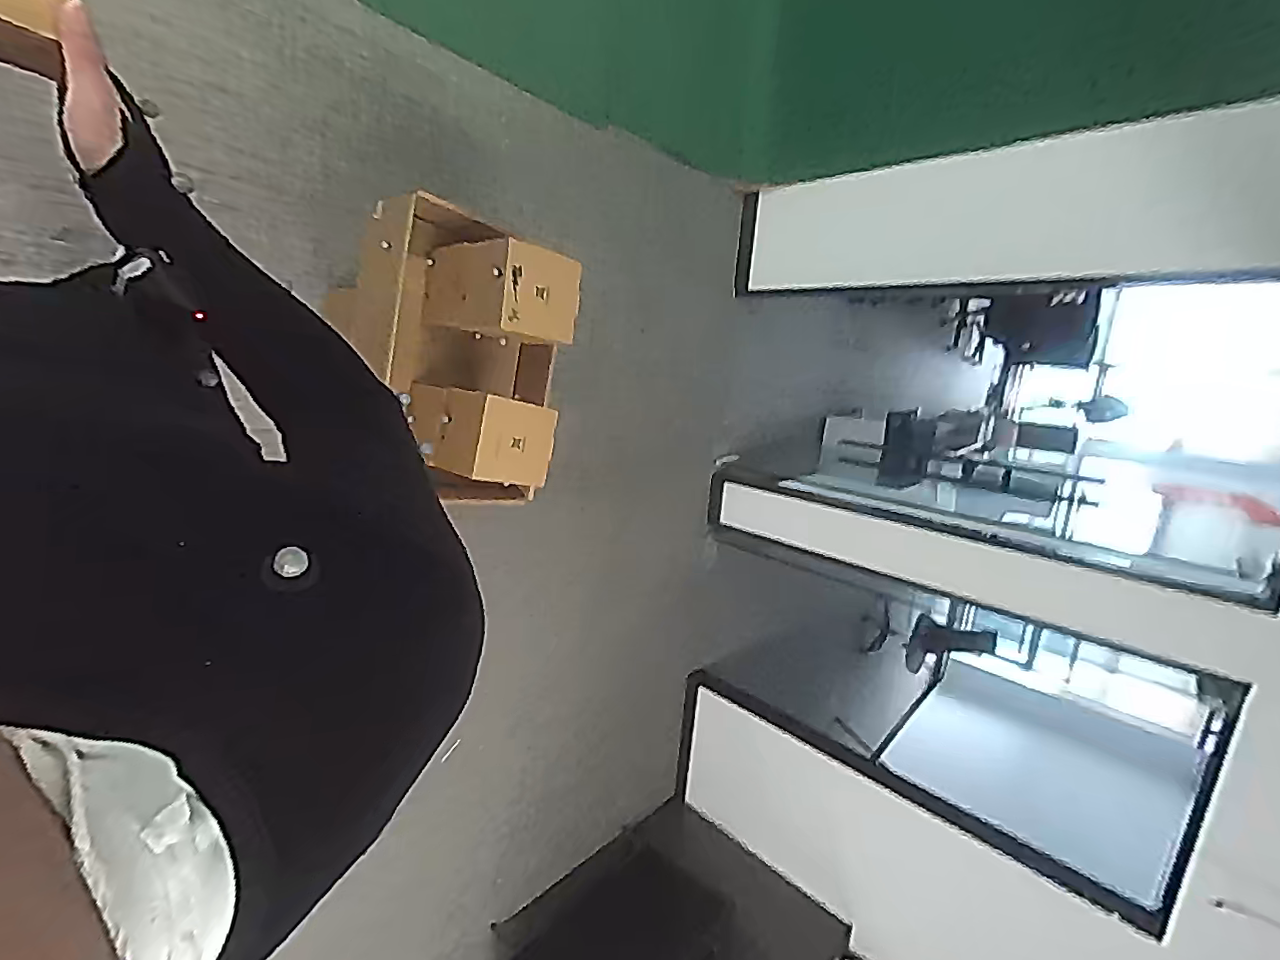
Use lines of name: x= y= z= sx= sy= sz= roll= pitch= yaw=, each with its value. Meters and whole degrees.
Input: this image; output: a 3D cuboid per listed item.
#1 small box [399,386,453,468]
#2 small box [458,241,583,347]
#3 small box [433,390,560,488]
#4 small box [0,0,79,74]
small box: x=-0.420 y=-0.114 z=1.238 sx=0.179 sy=0.176 sz=0.168 roll=10 pitch=93 yaw=-49
small box: x=-0.245 y=-0.372 z=1.105 sx=0.179 sy=0.176 sz=0.168 roll=0 pitch=101 yaw=-48
small box: x=-0.301 y=-0.087 z=1.131 sx=0.179 sy=0.176 sz=0.168 roll=9 pitch=94 yaw=-49
small box: x=-0.494 y=-0.410 z=0.355 sx=0.168 sy=0.176 sz=0.179 roll=-4 pitch=113 yaw=-47
